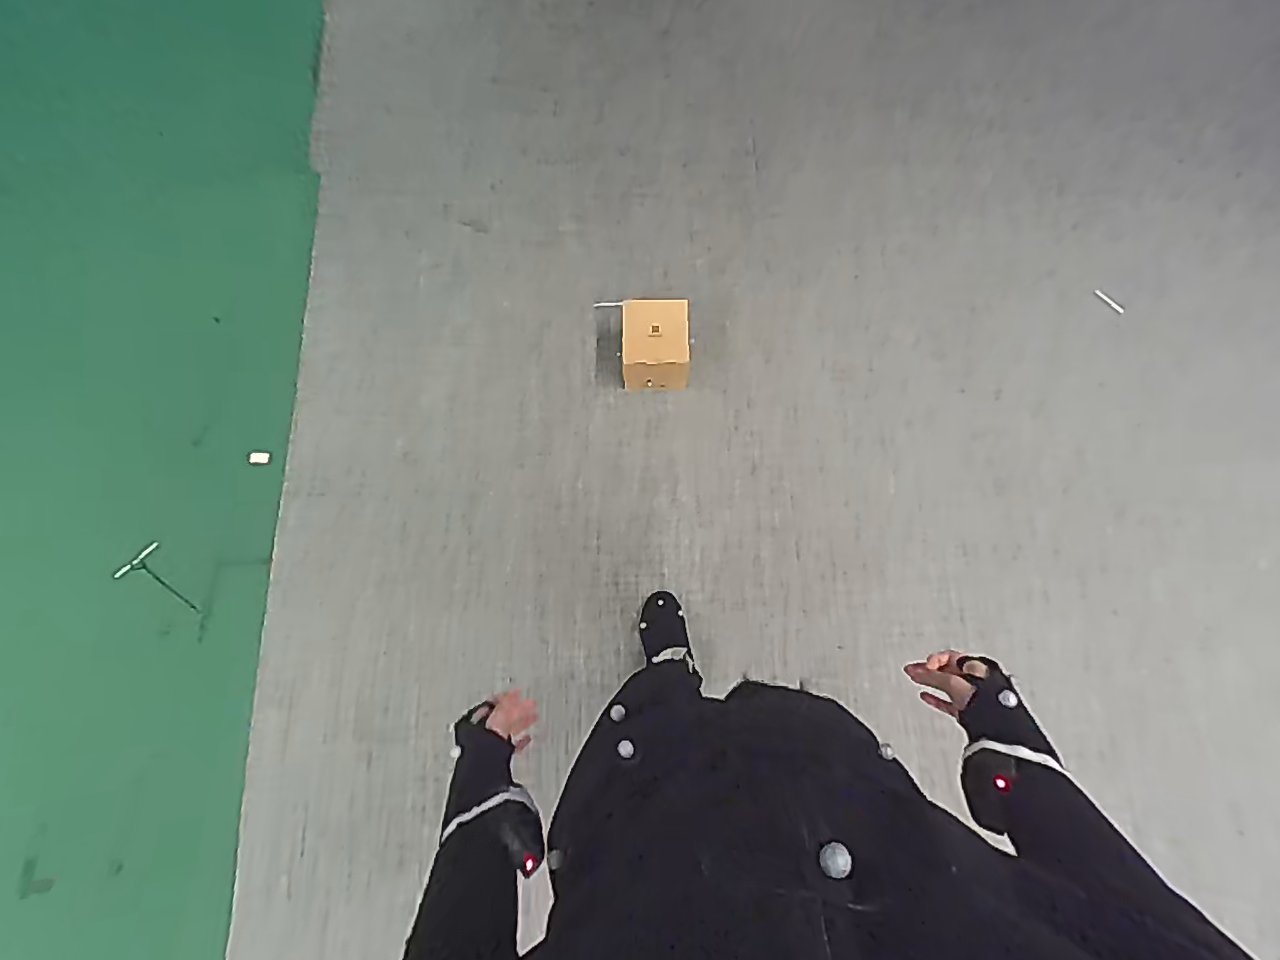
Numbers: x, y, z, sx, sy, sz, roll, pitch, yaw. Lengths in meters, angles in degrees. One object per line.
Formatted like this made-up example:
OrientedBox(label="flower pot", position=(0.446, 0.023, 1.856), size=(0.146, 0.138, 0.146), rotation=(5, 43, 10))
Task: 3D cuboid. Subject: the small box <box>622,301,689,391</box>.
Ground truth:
OrientedBox(label="small box", position=(0.038, -0.349, 1.422), size=(0.168, 0.176, 0.179), rotation=(-1, 78, 0))
